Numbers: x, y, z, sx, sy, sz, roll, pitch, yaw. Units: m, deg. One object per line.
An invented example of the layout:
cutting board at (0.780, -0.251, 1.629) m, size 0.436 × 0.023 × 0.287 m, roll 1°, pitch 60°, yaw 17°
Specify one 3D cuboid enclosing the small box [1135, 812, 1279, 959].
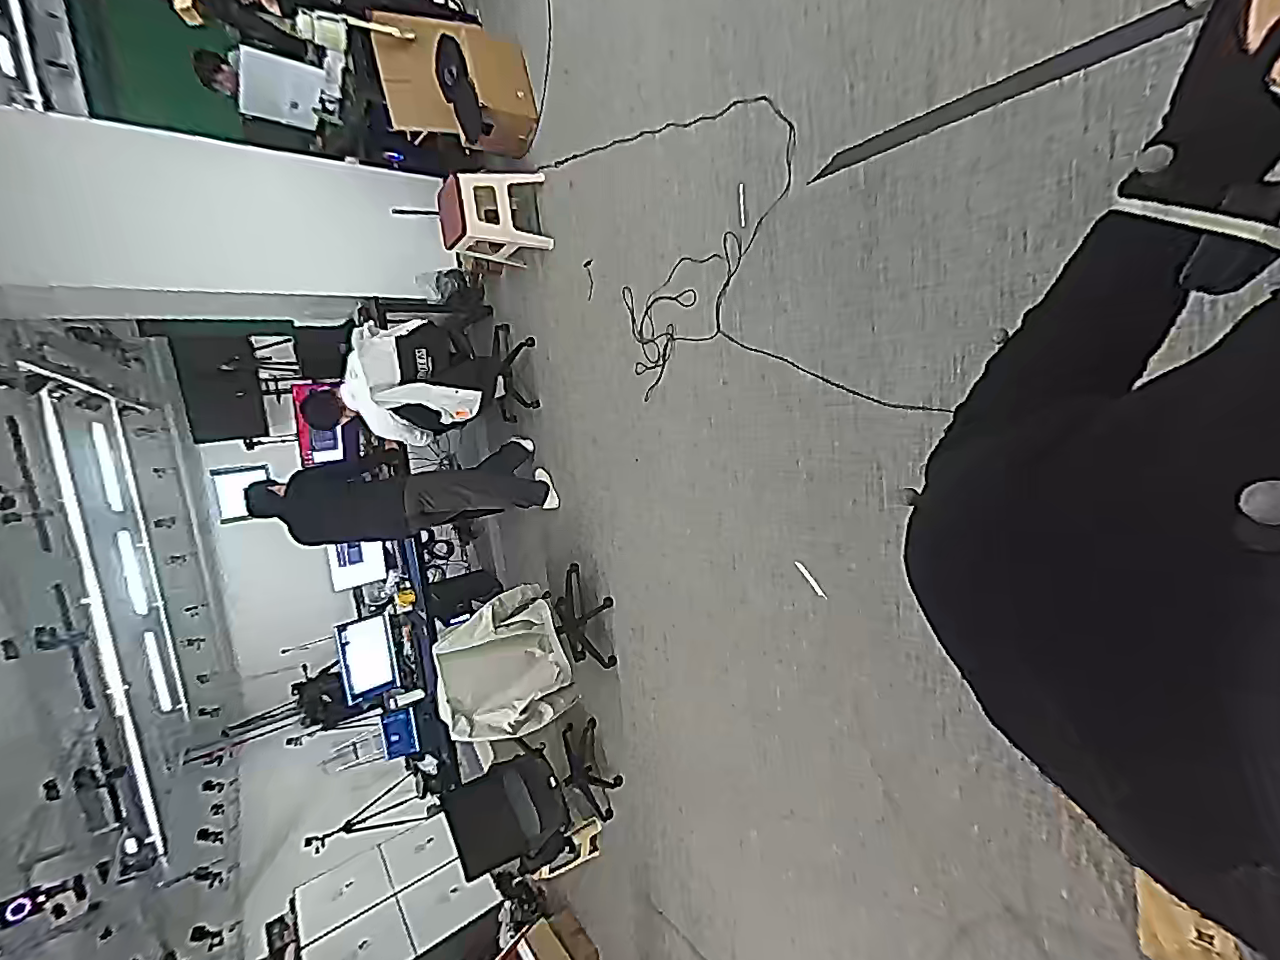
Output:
small box at (0.974, 0.719, 0.917) m, size 0.168 × 0.176 × 0.179 m, roll -2°, pitch 98°, yaw 53°
